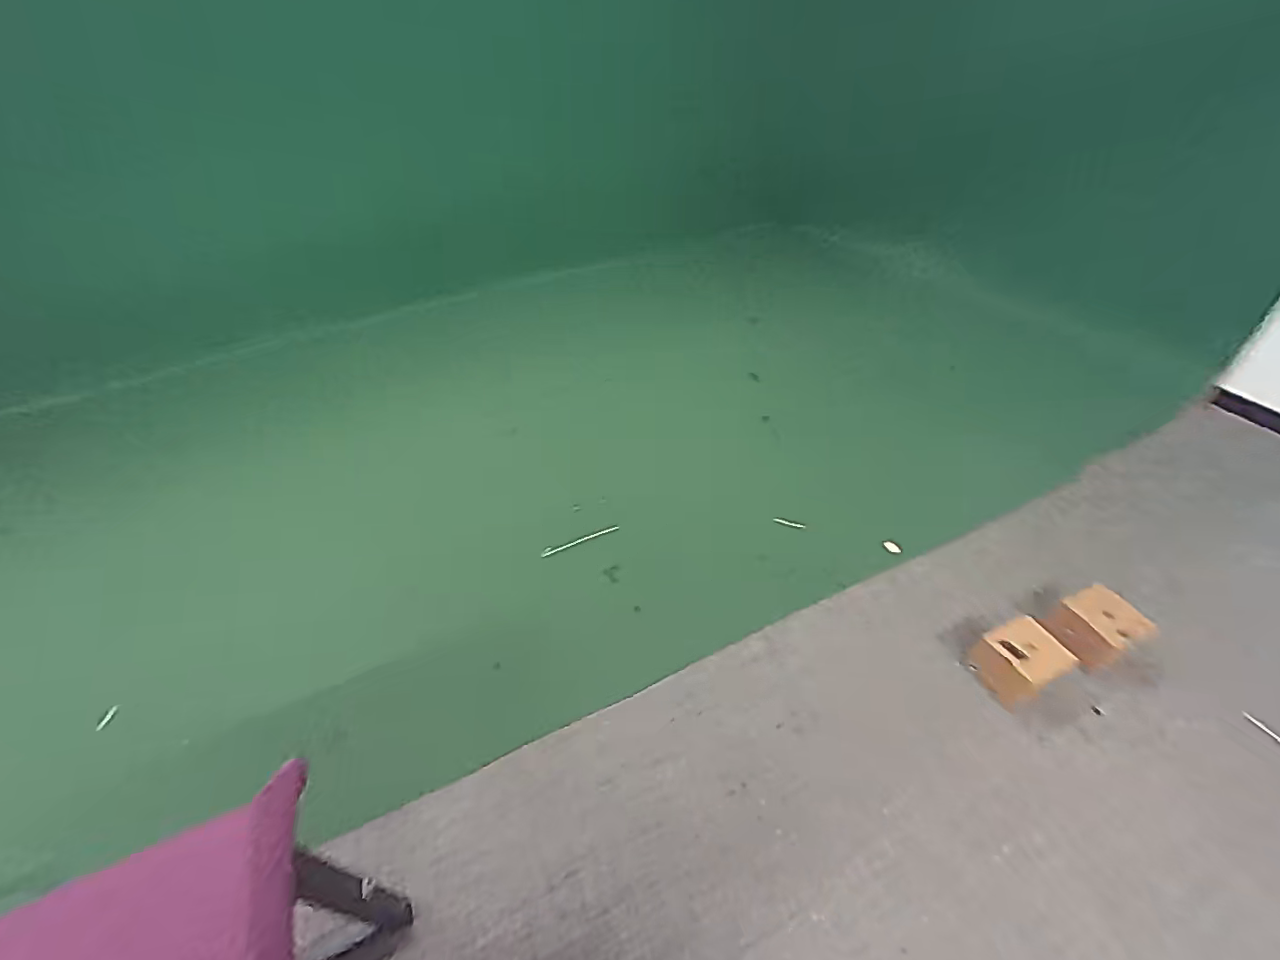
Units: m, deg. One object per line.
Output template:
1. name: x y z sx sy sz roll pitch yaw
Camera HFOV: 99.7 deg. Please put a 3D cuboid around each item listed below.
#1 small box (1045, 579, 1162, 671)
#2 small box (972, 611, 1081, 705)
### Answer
1. small box: 1.371 0.433 1.617 0.168 0.176 0.179 -19 45 -13
2. small box: 1.099 0.516 1.559 0.179 0.176 0.168 -19 46 -15
